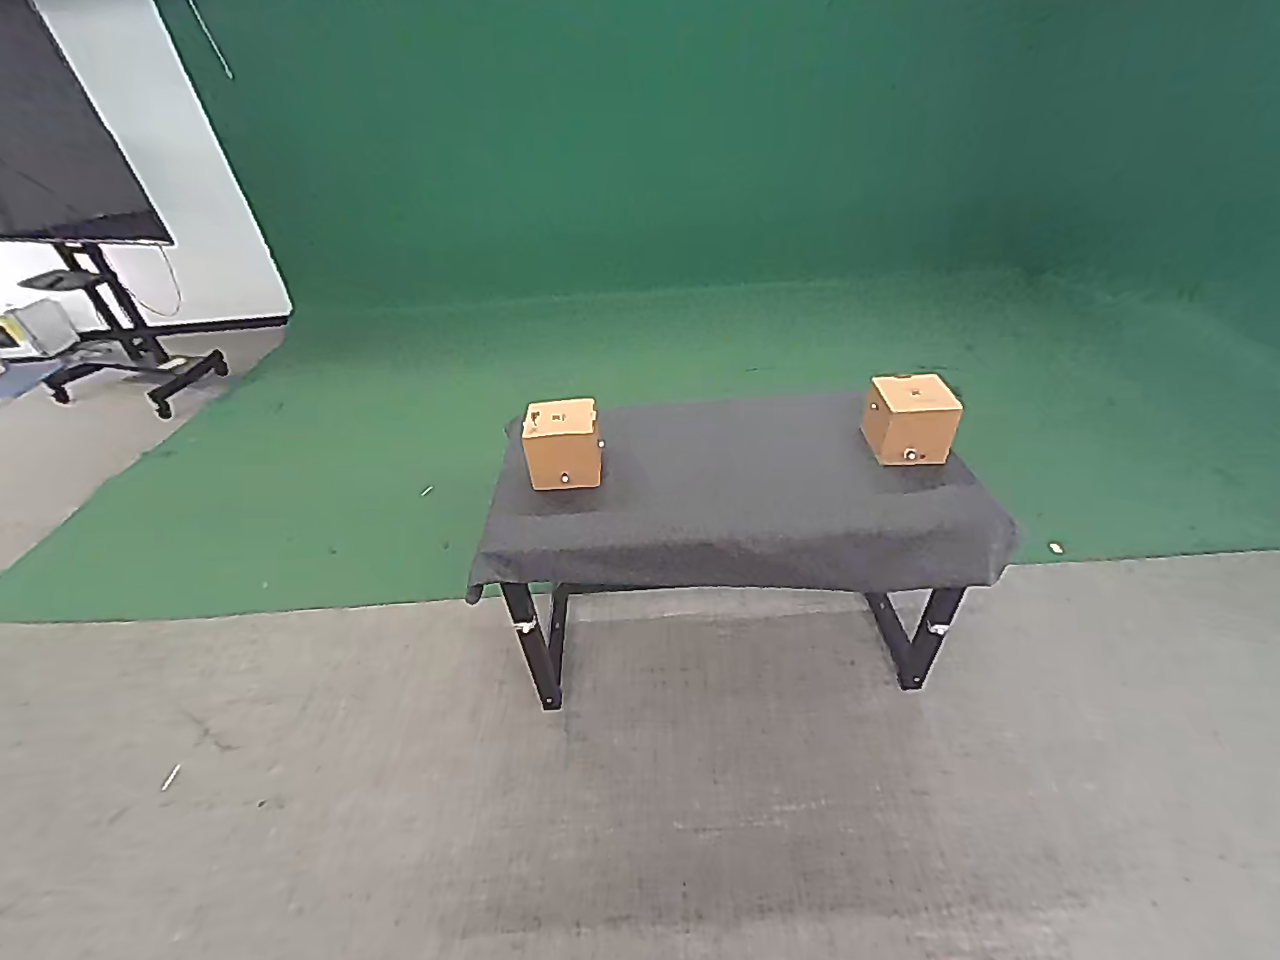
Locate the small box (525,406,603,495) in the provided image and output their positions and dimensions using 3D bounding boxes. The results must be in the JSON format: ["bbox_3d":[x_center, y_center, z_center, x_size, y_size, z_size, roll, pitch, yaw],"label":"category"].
[{"bbox_3d":[-0.191,-0.076,1.417,0.179,0.176,0.168,-3,38,0],"label":"small box"}]

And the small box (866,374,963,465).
[{"bbox_3d":[0.693,-0.155,1.390,0.168,0.176,0.179,-2,38,8],"label":"small box"}]
